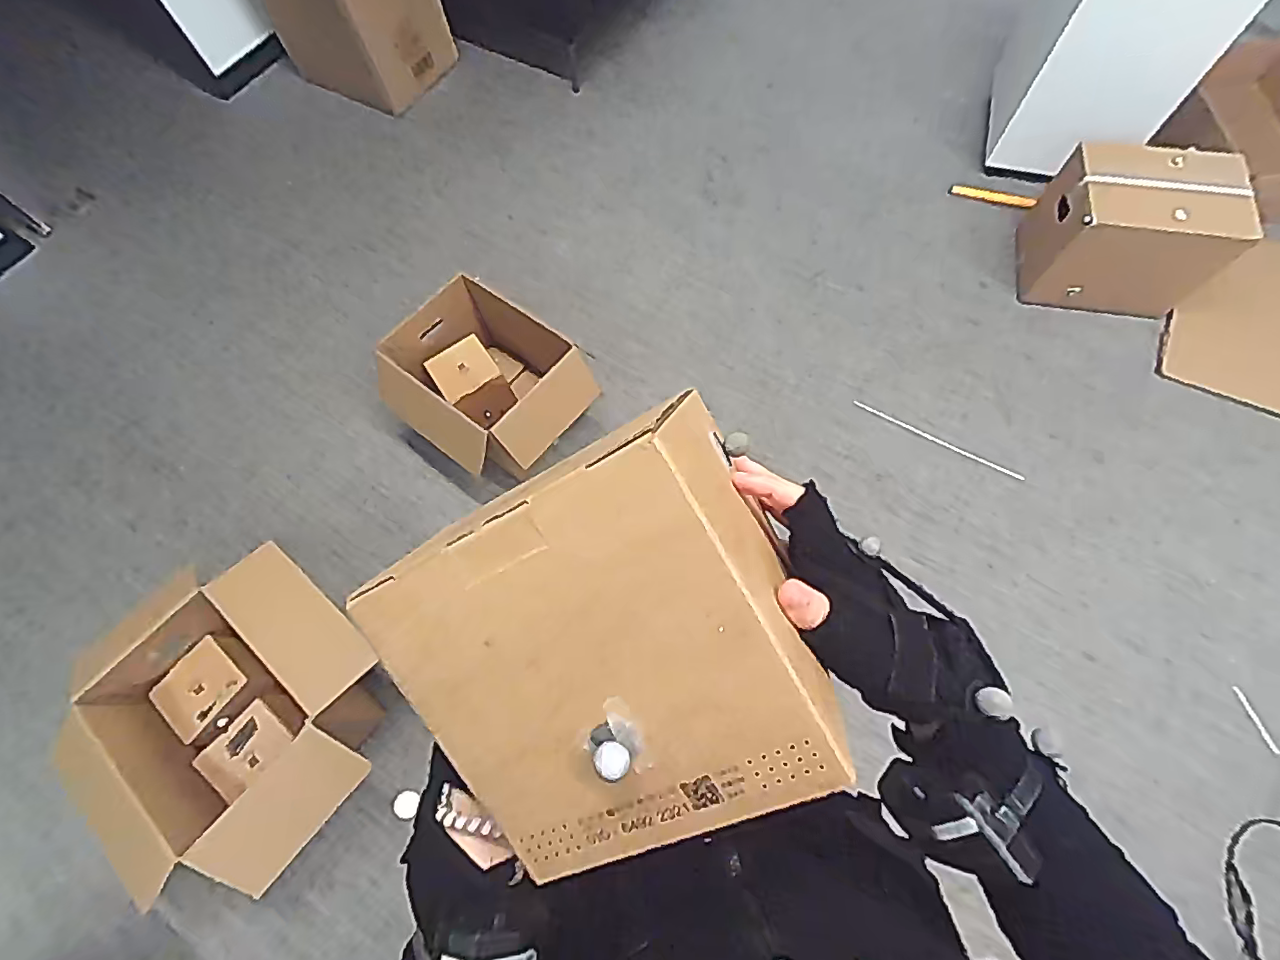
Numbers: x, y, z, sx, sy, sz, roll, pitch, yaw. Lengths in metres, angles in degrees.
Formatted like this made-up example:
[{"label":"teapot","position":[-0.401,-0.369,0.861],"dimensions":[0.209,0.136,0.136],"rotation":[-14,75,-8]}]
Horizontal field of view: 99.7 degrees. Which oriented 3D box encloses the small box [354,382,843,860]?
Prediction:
[{"label":"small box","position":[-0.007,0.062,0.310],"dimensions":[0.168,0.179,0.176],"rotation":[-28,98,16]}]
